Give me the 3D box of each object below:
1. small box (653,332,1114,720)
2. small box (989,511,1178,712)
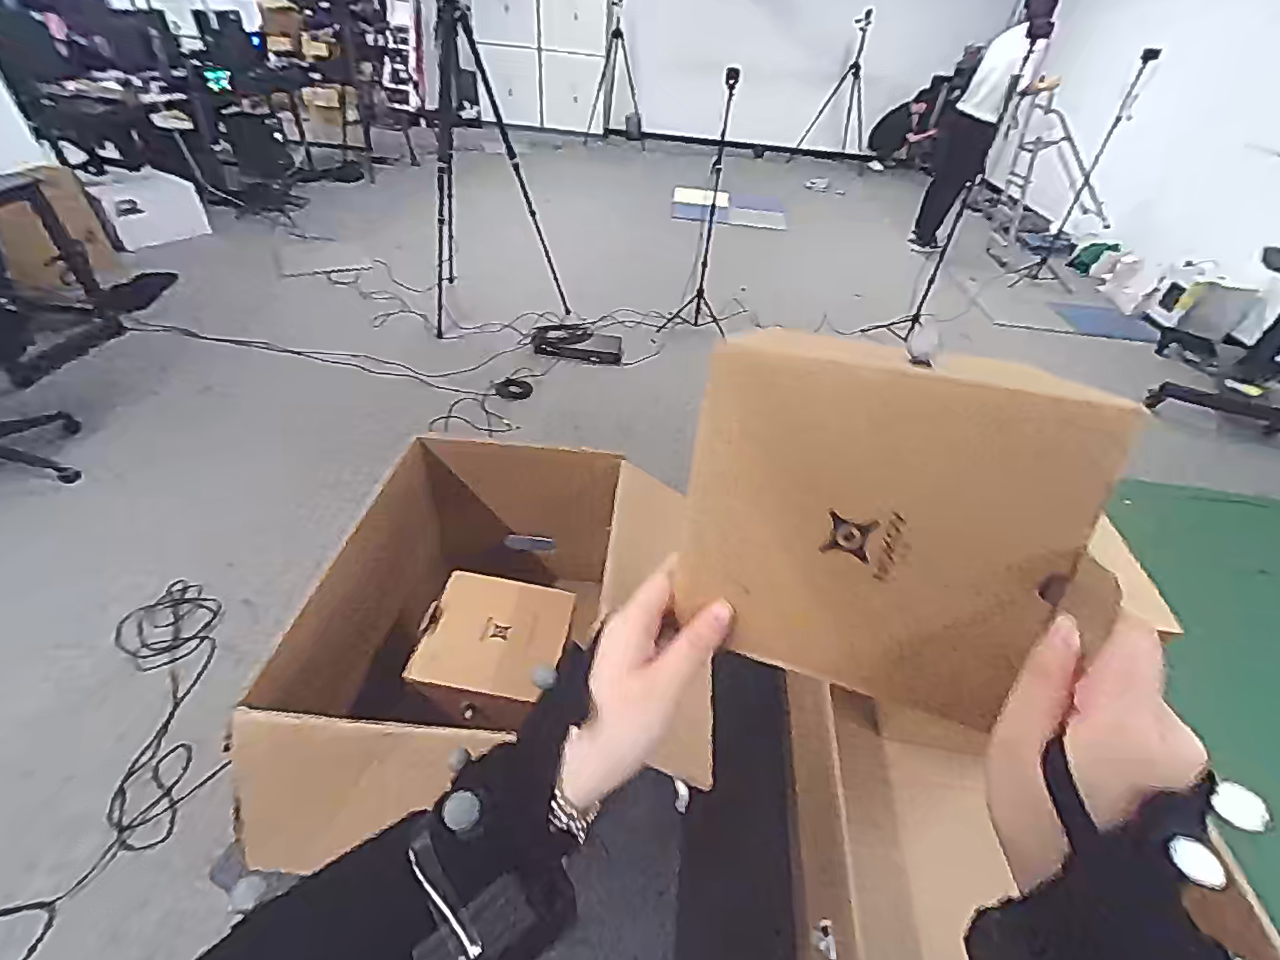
[{"bbox_3d":[0.125,0.003,0.337,0.179,0.168,0.176,13,21,16],"label":"small box"},{"bbox_3d":[0.449,0.144,0.643,0.168,0.176,0.179,9,43,4],"label":"small box"}]
